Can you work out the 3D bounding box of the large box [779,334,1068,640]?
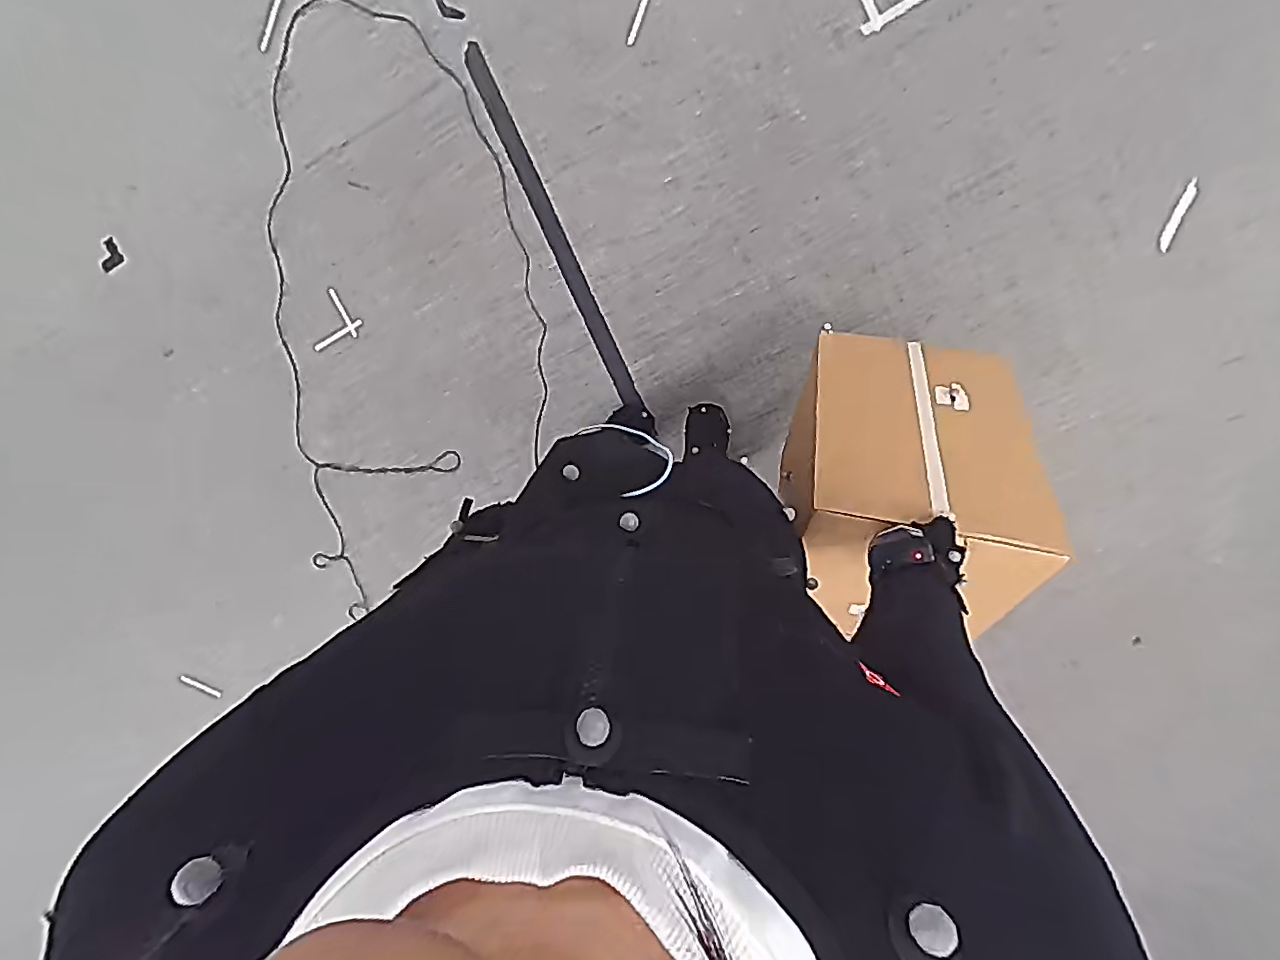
[{"bbox_3d":[0.425,0.008,0.930,0.320,0.408,0.320,10,141,7],"label":"large box"}]
